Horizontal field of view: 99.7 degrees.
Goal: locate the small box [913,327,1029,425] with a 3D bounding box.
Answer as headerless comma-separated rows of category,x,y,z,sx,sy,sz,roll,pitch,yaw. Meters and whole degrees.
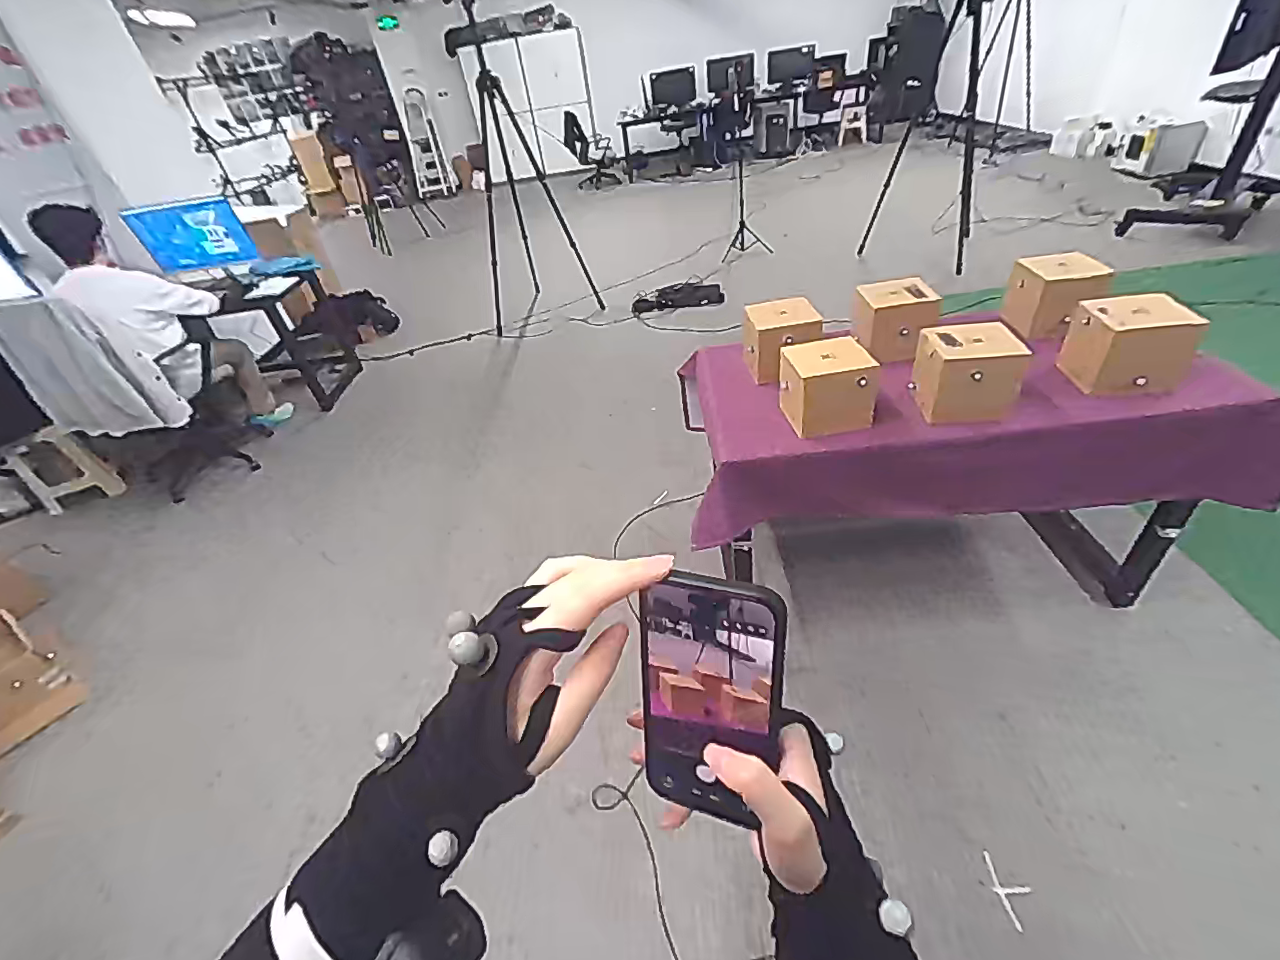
small box,0.755,-0.240,1.260,0.179,0.176,0.168,-2,39,9

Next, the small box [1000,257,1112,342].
small box,1.137,-0.498,1.498,0.168,0.176,0.179,-4,39,8

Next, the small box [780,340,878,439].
small box,0.445,-0.214,1.299,0.179,0.176,0.168,-9,38,-1

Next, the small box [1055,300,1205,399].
small box,1.121,-0.301,1.255,0.179,0.176,0.168,-2,38,10
